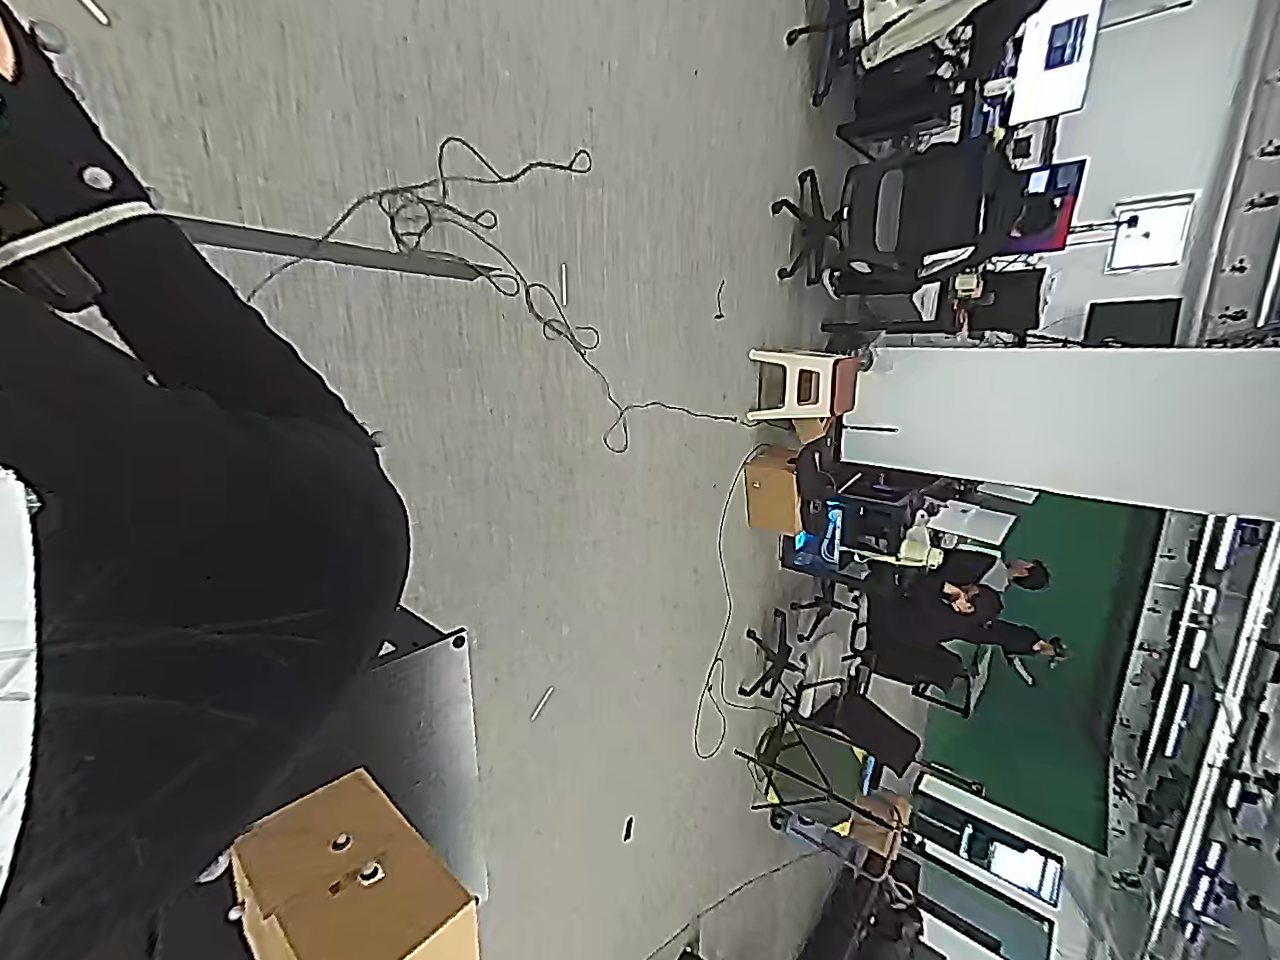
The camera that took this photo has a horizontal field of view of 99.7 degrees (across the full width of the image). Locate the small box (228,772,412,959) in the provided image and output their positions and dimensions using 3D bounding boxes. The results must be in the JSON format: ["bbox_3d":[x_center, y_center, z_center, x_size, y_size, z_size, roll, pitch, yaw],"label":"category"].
[{"bbox_3d":[-0.436,0.551,0.750,0.179,0.176,0.168,-13,108,-47],"label":"small box"}]

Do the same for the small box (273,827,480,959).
[{"bbox_3d":[-0.311,0.574,0.649,0.168,0.176,0.179,-15,109,-49],"label":"small box"}]
